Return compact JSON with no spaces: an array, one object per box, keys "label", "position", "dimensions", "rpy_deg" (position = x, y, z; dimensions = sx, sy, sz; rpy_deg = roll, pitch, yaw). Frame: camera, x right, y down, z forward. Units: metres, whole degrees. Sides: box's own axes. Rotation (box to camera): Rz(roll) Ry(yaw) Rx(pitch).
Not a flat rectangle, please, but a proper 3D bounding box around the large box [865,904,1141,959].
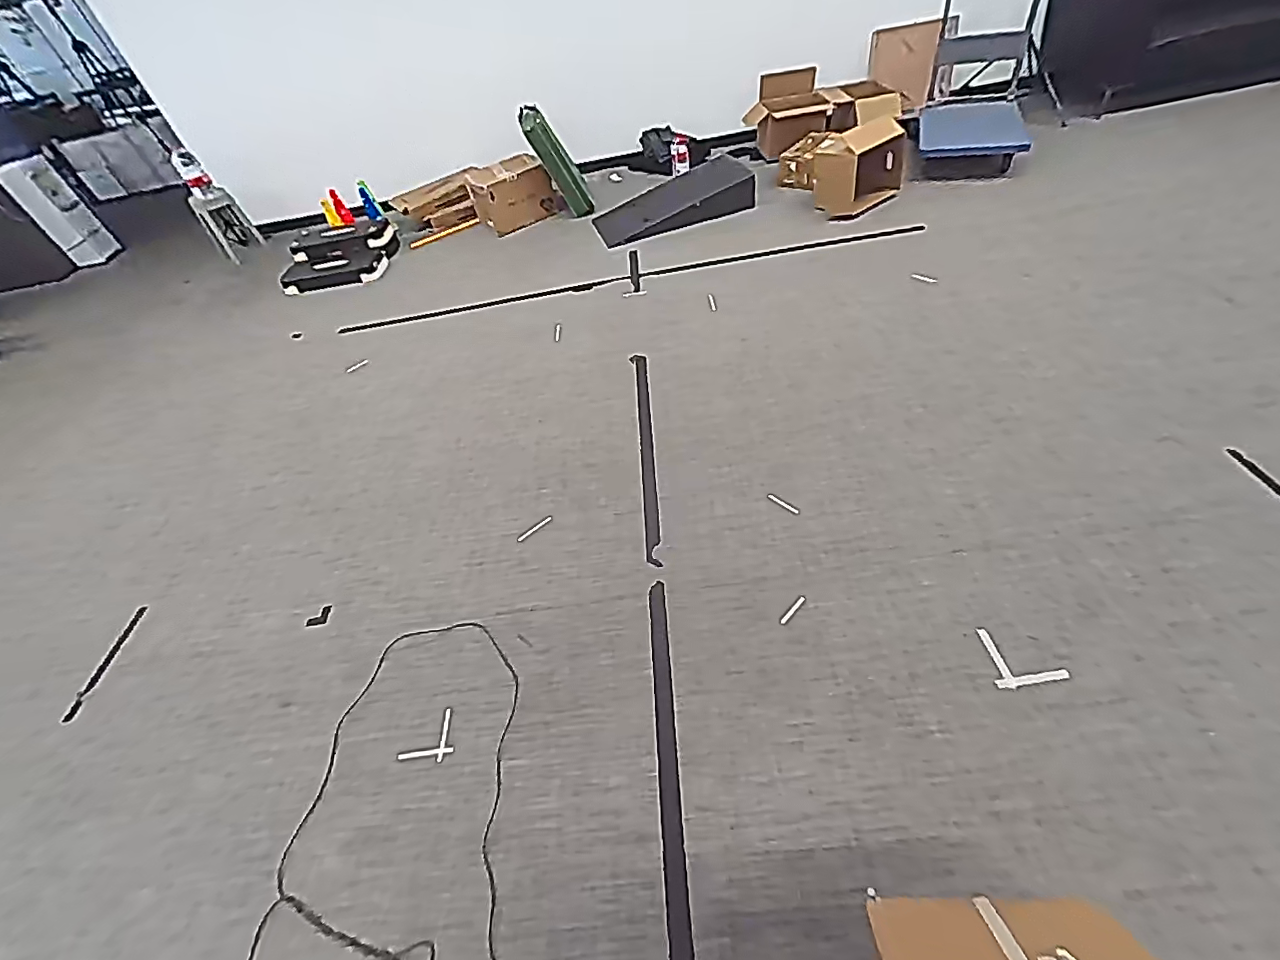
[{"label":"large box","position":[0.463,0.742,0.564],"dimensions":[0.320,0.408,0.320],"rpy_deg":[-6,82,10]}]
